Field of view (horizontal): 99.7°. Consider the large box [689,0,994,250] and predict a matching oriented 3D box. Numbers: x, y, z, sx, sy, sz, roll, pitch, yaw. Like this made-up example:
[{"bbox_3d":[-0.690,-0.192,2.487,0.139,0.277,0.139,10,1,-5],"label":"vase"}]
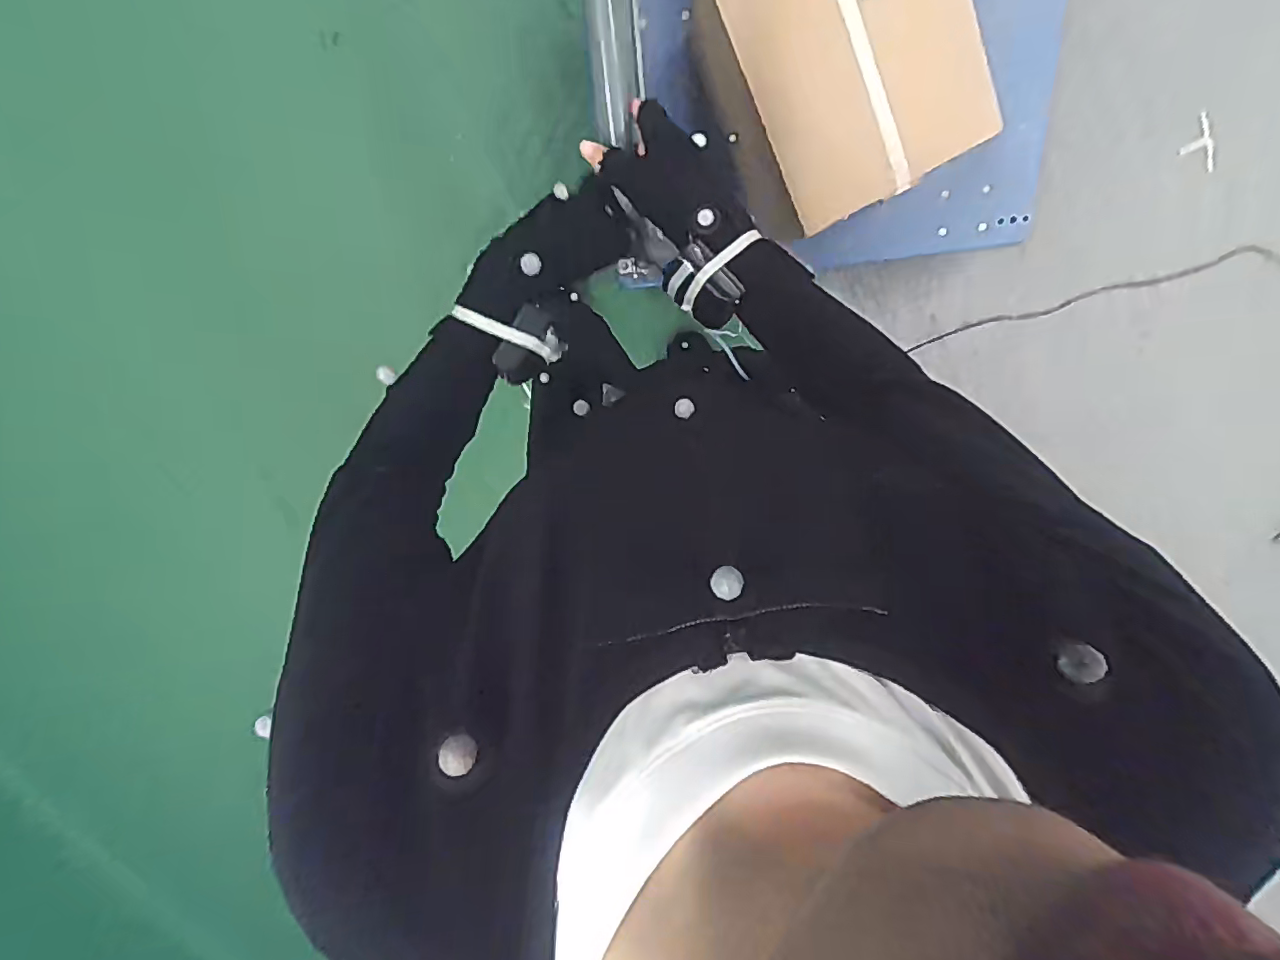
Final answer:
[{"bbox_3d":[0.306,-0.660,0.912,0.320,0.320,0.408,-25,106,10],"label":"large box"}]
